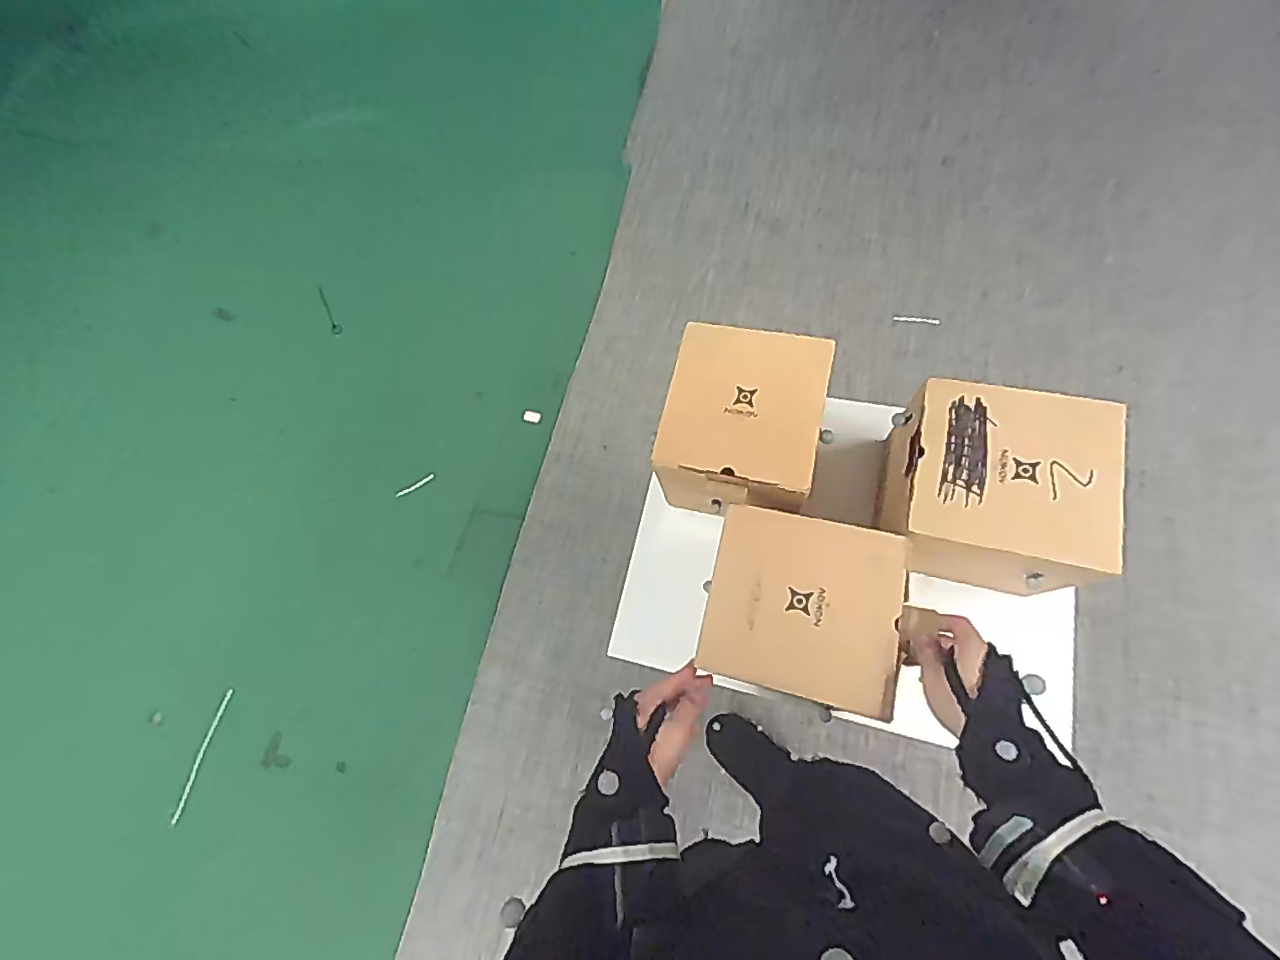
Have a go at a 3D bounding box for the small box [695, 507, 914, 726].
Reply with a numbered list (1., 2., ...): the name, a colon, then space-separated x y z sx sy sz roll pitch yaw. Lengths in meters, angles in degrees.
1. small box: 0.165 0.144 0.571 0.179 0.176 0.168 10 71 14

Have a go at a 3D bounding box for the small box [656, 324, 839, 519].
1. small box: 0.126 -0.056 0.646 0.168 0.176 0.179 11 74 13
